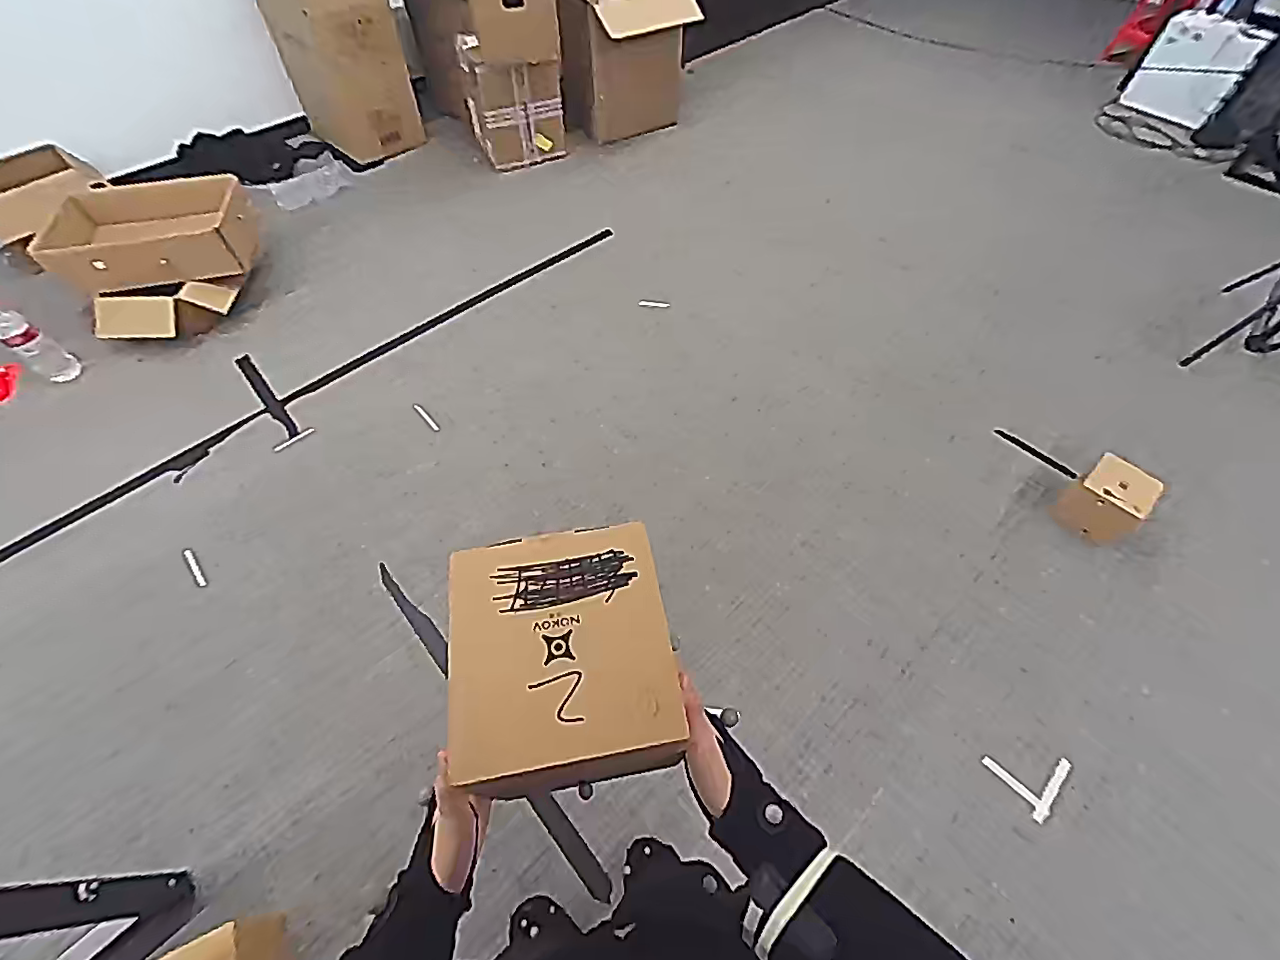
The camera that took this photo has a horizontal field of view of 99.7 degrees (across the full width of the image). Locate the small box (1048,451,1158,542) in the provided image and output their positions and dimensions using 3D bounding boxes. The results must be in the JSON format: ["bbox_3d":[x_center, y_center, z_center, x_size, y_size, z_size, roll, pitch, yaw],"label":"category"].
[{"bbox_3d":[1.383,0.053,1.627,0.179,0.176,0.168,-39,64,-24],"label":"small box"}]

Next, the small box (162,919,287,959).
[{"bbox_3d":[-0.798,0.971,1.024,0.168,0.176,0.179,-22,60,-14],"label":"small box"}]
